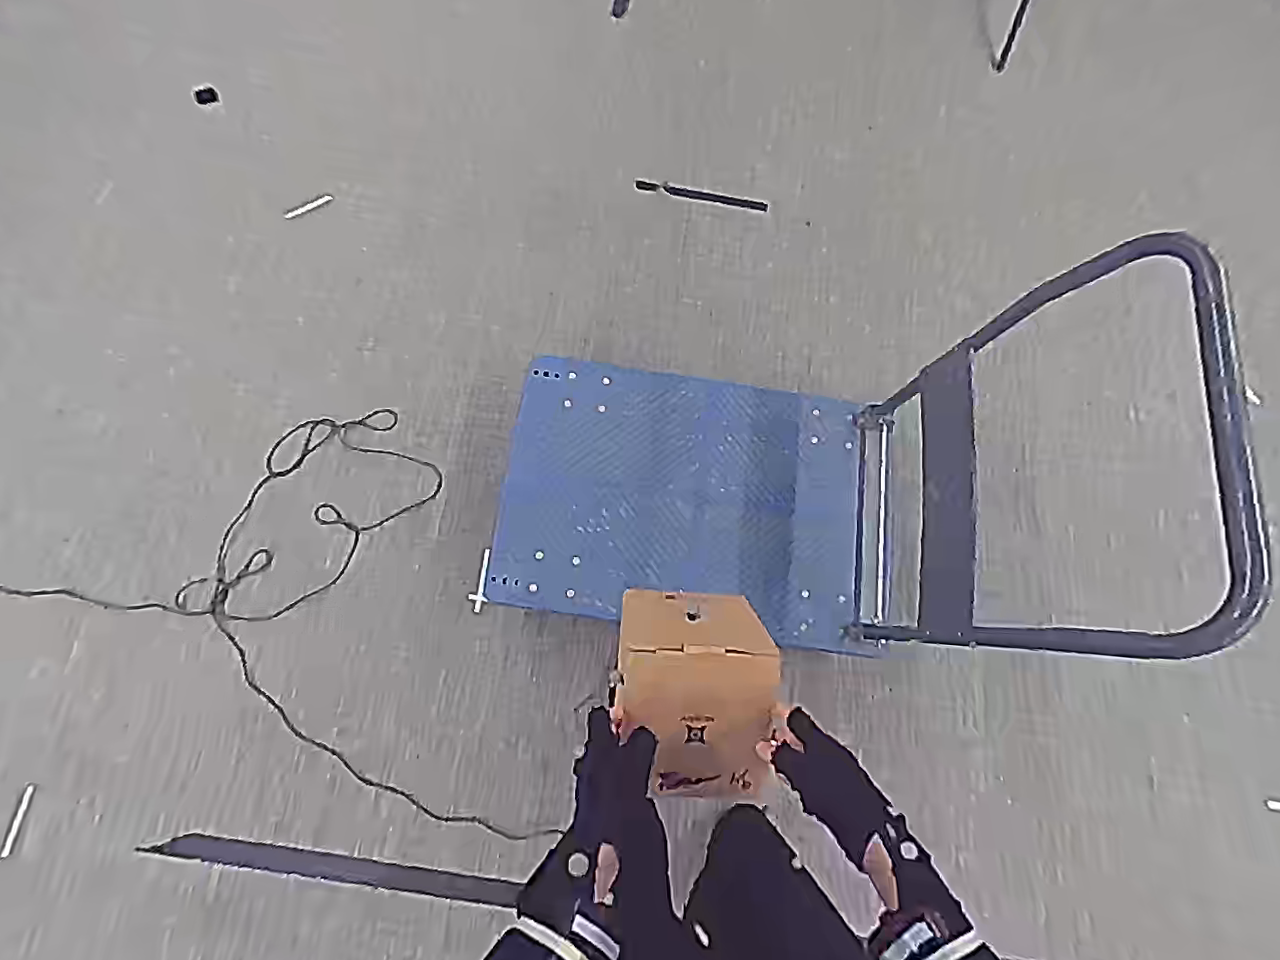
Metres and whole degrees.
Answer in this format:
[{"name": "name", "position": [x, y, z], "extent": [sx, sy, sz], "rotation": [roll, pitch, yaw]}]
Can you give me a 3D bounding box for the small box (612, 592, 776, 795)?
[{"name": "small box", "position": [0.054, 0.248, 0.664], "extent": [0.168, 0.176, 0.179], "rotation": [4, 98, -3]}]
